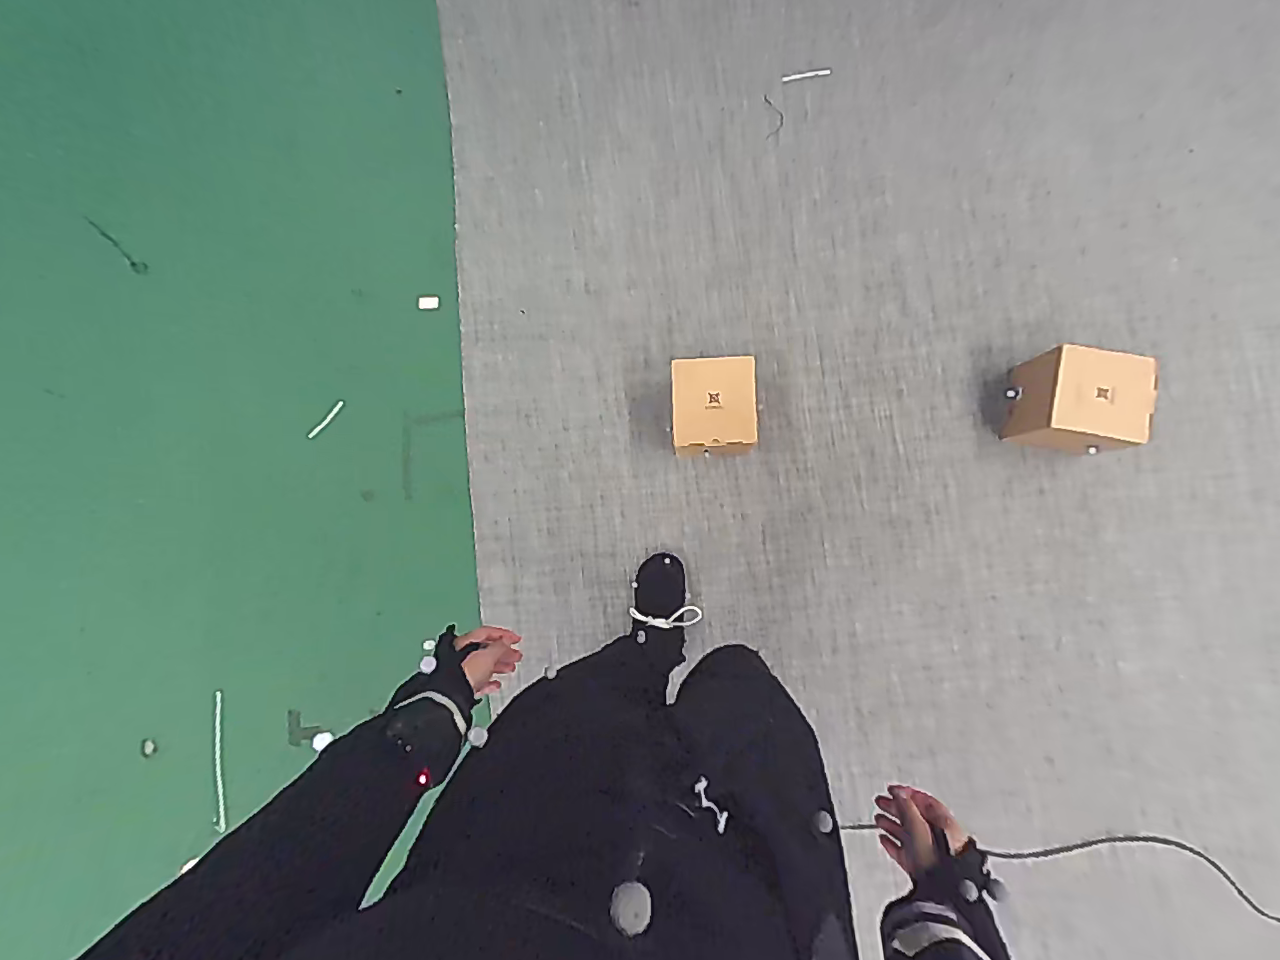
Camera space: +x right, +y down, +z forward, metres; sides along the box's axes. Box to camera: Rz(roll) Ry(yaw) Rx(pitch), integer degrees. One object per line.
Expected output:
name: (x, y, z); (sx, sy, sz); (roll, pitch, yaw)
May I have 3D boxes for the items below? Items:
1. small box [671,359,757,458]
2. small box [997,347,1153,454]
small box: (0.150, -0.146, 1.147); (0.168, 0.176, 0.179); (-2, 86, 4)
small box: (0.869, -0.152, 1.095); (0.179, 0.176, 0.168); (10, 86, 6)
